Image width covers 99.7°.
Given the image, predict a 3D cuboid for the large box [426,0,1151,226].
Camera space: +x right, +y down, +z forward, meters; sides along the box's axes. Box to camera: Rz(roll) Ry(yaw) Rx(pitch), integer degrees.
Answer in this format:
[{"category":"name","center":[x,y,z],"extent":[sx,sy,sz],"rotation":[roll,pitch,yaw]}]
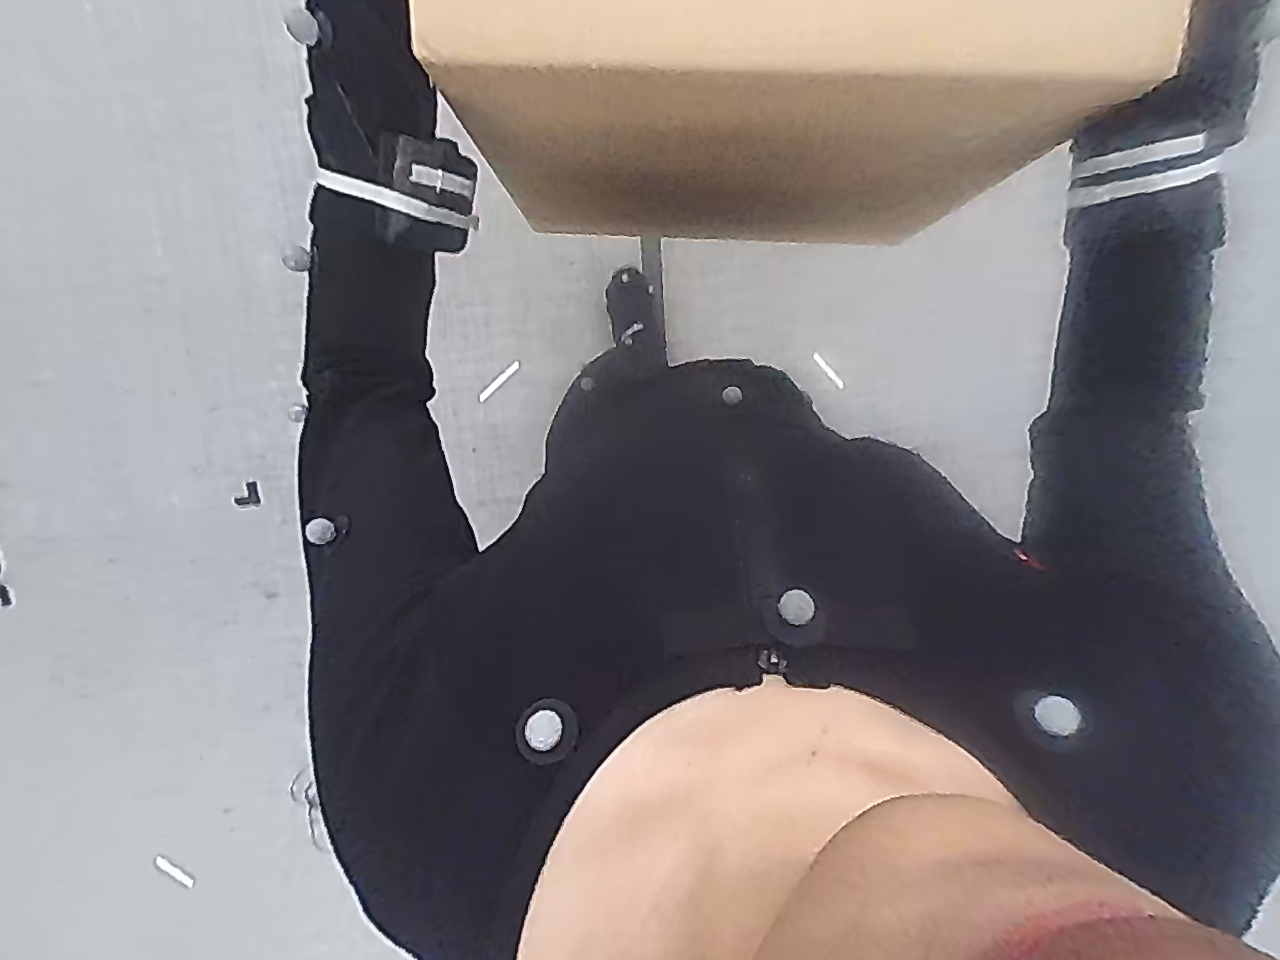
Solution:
[{"category":"large box","center":[0.081,-0.409,0.425],"extent":[0.408,0.320,0.320],"rotation":[1,99,0]}]
